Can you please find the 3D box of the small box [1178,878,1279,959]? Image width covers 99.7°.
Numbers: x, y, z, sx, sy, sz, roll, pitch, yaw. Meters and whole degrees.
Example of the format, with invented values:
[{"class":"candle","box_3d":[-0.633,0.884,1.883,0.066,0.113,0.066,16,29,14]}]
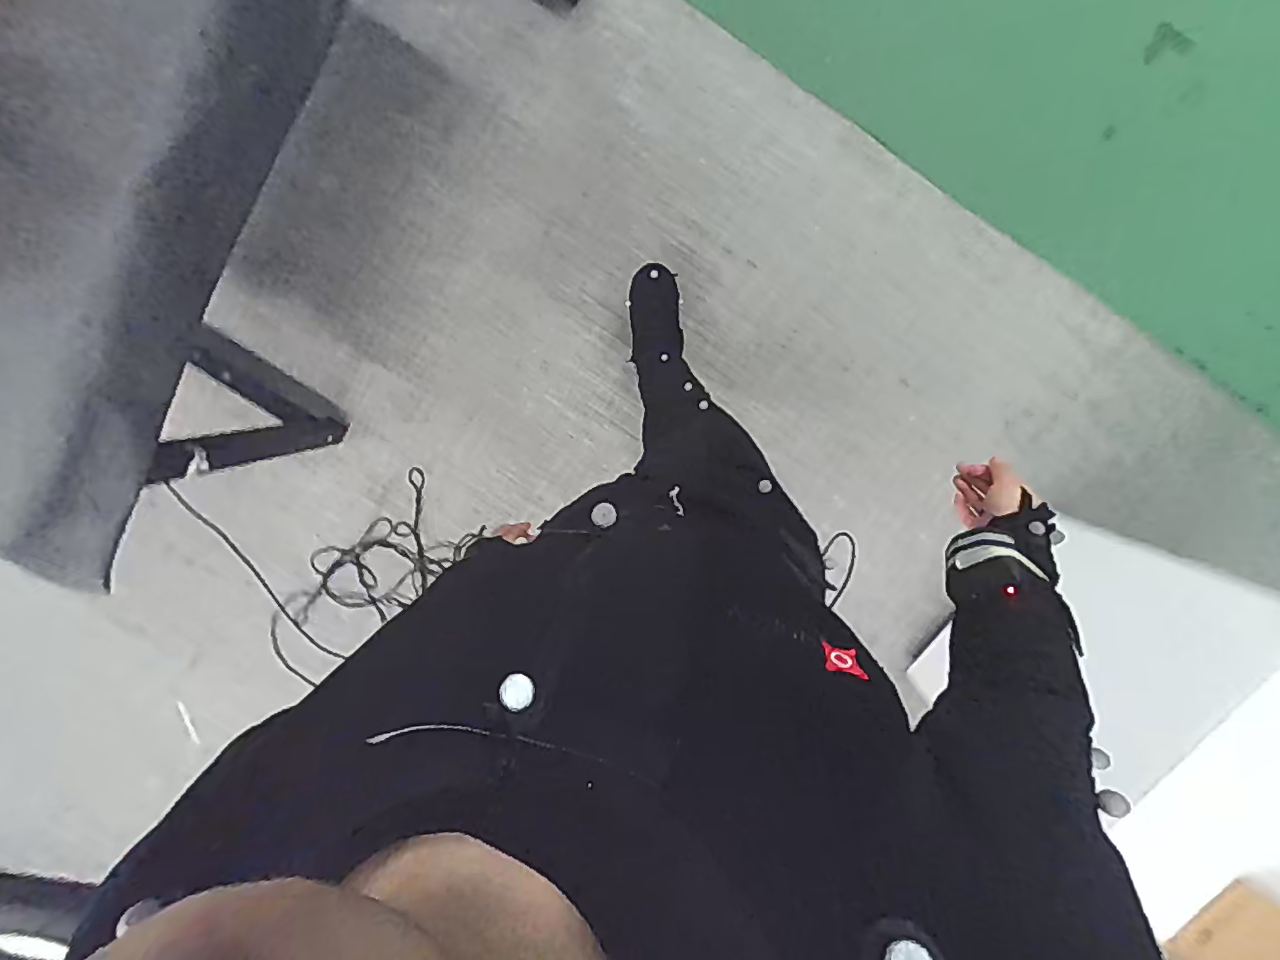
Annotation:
[{"class":"small box","box_3d":[0.905,0.686,0.722,0.179,0.176,0.168,33,101,-4]}]
